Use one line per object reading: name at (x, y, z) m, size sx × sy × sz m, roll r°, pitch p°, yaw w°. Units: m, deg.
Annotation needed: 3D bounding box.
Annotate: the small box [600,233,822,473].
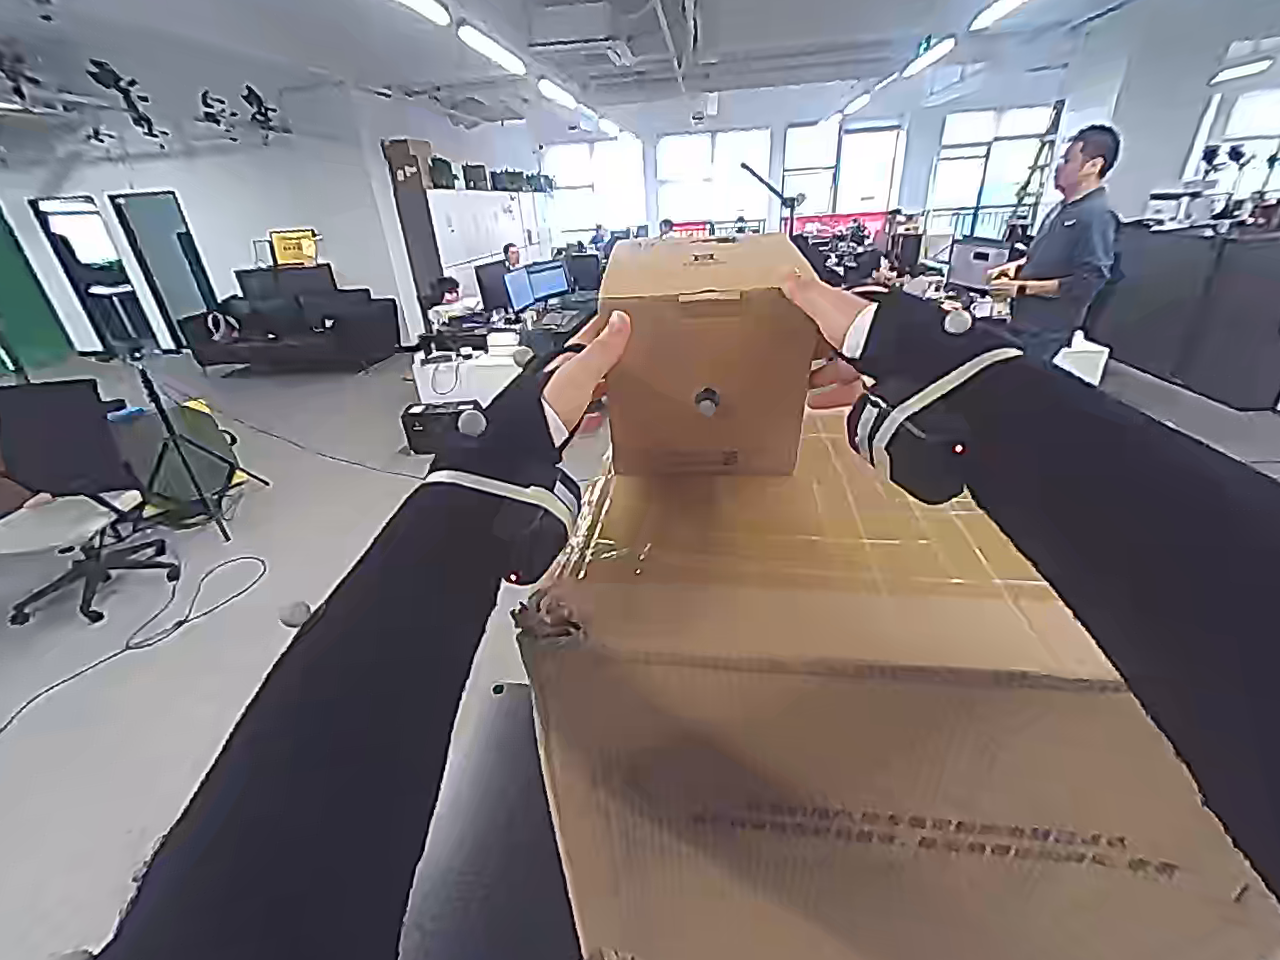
small box at (0.062, -0.117, 0.506) m, size 0.168 × 0.176 × 0.179 m, roll -1°, pitch 37°, yaw 5°
